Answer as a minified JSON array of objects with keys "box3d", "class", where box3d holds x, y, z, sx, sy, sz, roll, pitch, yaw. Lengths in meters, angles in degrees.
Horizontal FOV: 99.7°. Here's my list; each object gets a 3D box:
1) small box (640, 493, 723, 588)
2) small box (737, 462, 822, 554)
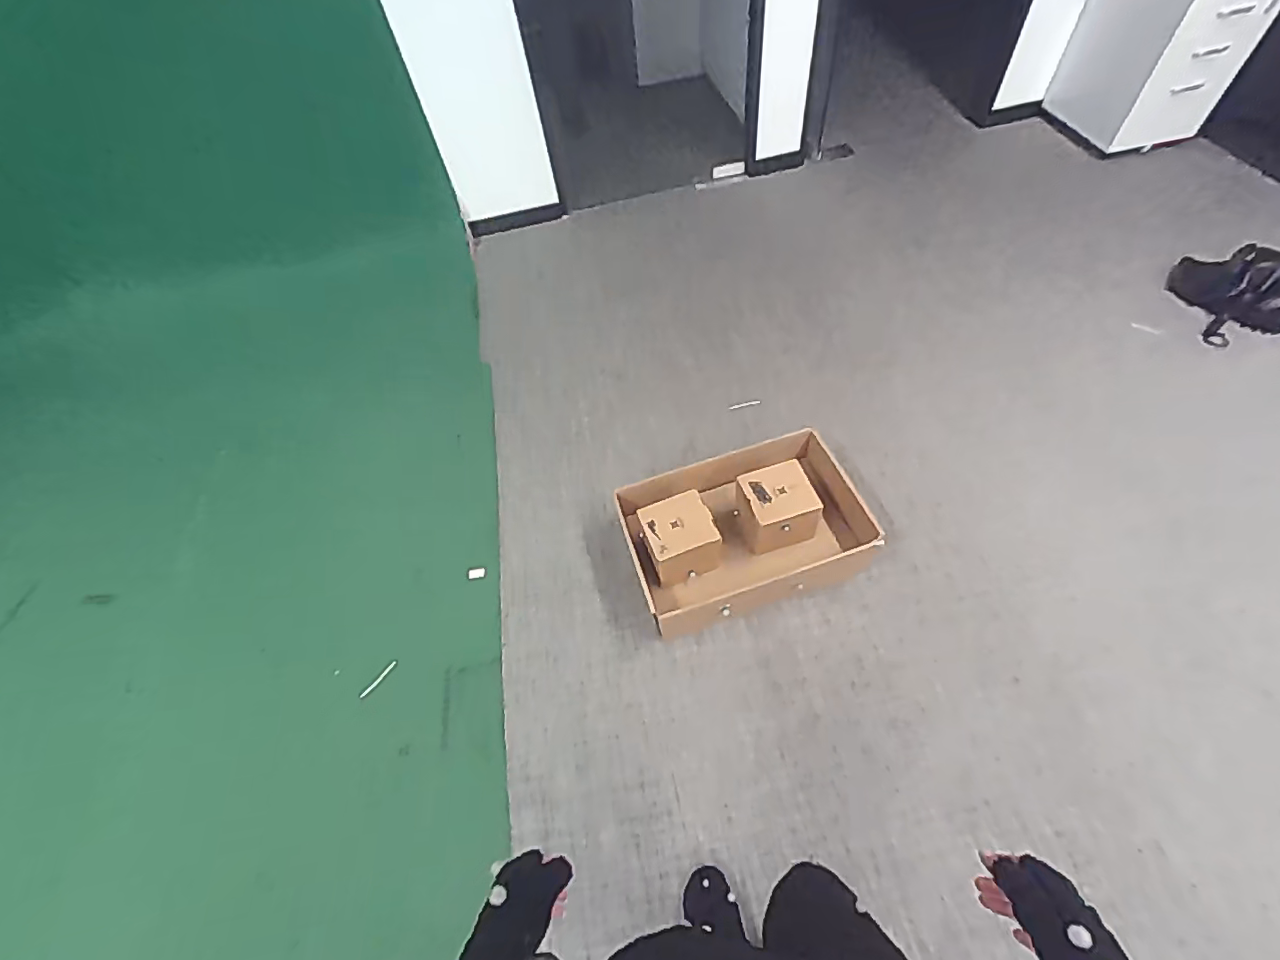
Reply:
[{"box3d":[0.109,0.167,1.464,0.179,0.176,0.168,-19,55,-7],"class":"small box"},{"box3d":[0.376,0.083,1.487,0.179,0.176,0.168,-16,55,-3],"class":"small box"}]
